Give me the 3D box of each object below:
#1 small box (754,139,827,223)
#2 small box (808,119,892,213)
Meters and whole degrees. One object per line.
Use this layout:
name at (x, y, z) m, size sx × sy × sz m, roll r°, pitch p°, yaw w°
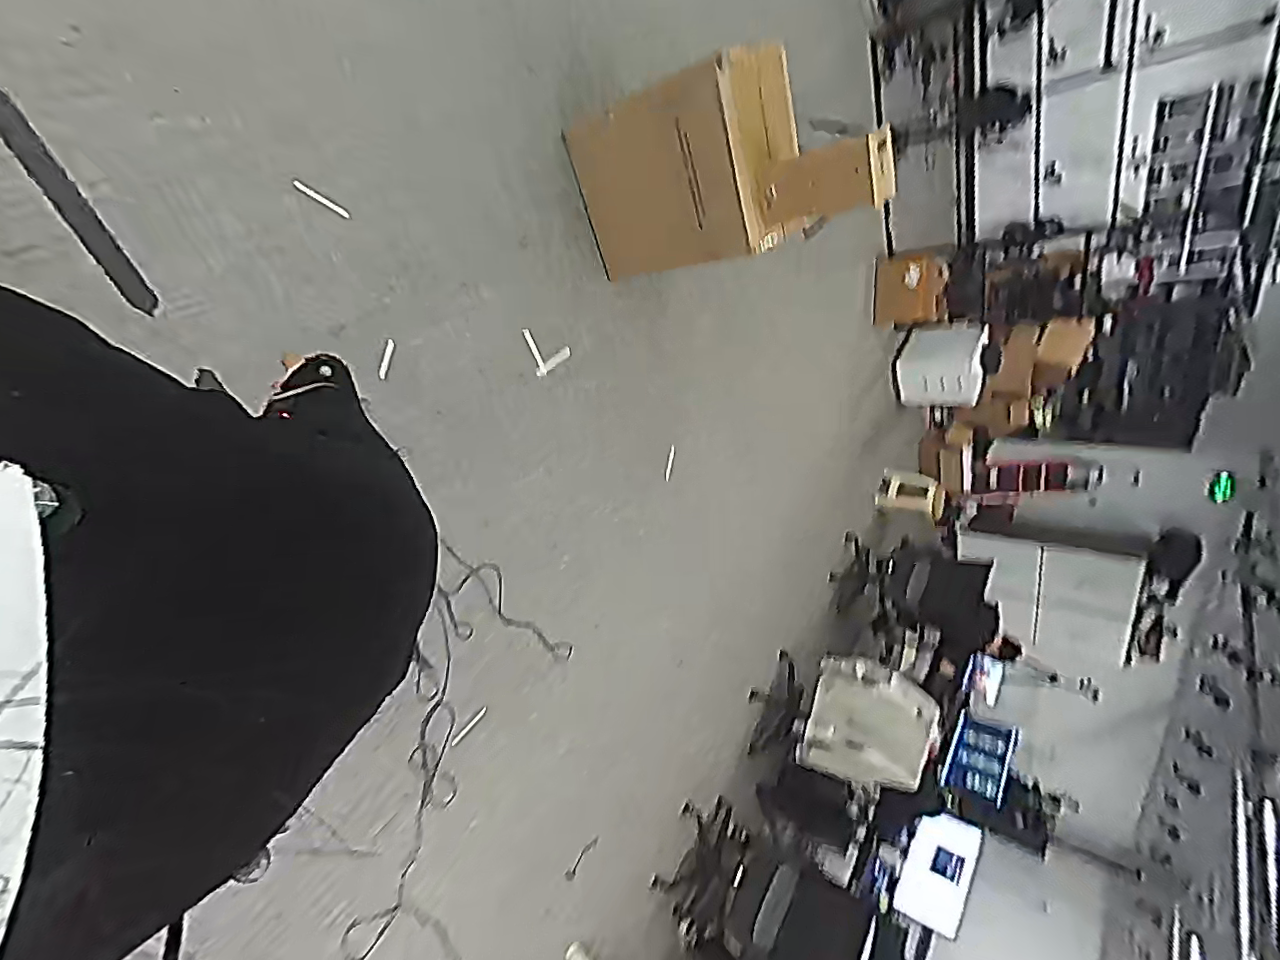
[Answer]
small box at (0.467, -0.898, 1.627) m, size 0.179 × 0.176 × 0.168 m, roll -42°, pitch 124°, yaw -34°
small box at (0.588, -0.877, 1.517) m, size 0.168 × 0.176 × 0.179 m, roll -43°, pitch 125°, yaw -34°
